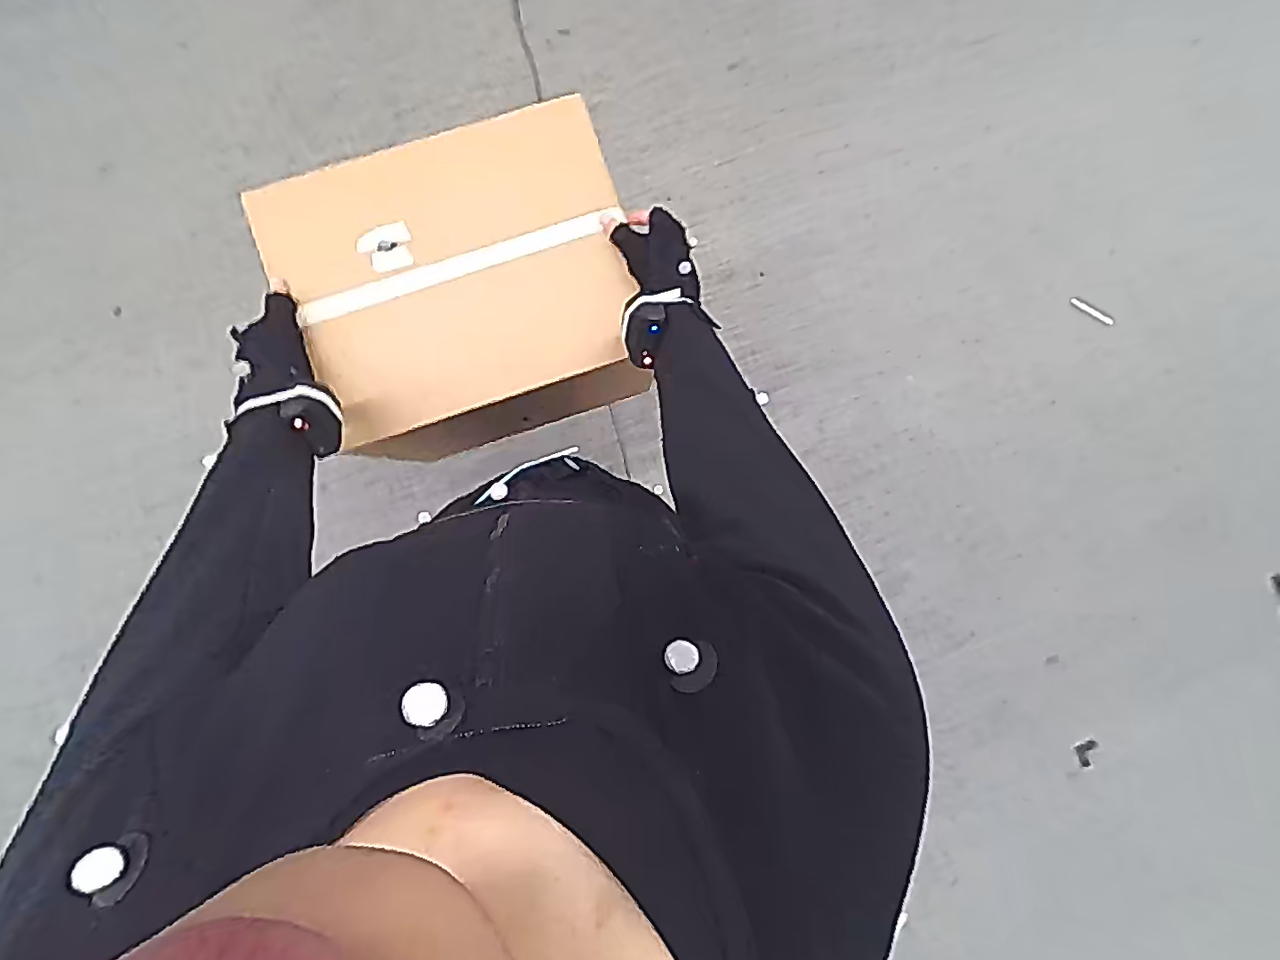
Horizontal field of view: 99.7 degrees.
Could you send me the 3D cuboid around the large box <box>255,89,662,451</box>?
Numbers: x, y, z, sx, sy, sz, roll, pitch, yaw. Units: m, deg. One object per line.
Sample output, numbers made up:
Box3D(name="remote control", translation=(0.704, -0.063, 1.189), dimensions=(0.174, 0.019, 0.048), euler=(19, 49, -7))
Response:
Box3D(name="large box", translation=(-0.211, -0.251, 0.773), dimensions=(0.408, 0.320, 0.320), euler=(-18, 90, -2))
